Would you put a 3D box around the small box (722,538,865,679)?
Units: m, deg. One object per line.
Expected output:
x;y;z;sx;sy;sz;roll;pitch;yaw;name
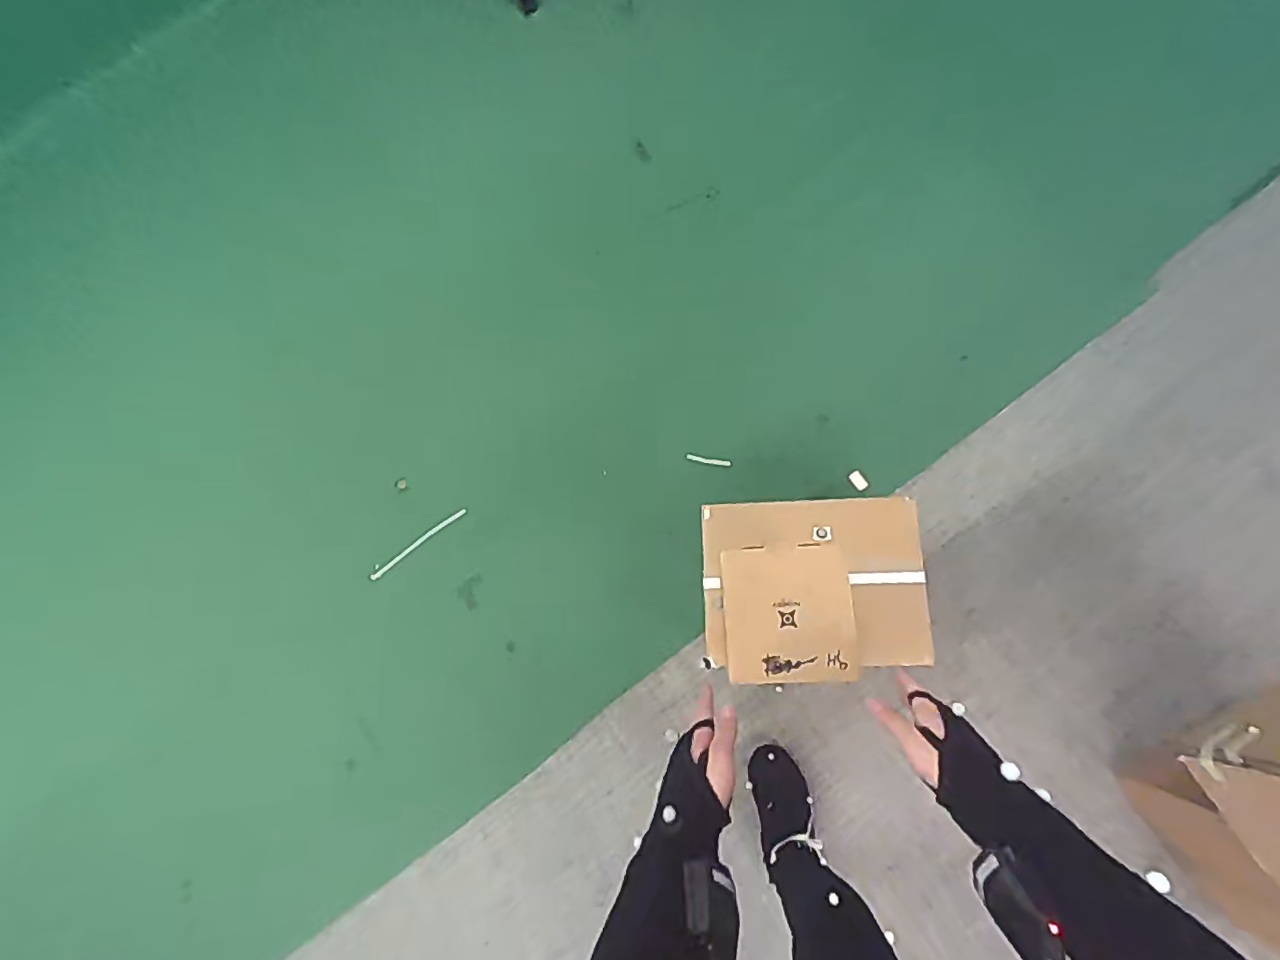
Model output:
0.205;0.184;0.772;0.168;0.176;0.179;-3;76;7;small box
